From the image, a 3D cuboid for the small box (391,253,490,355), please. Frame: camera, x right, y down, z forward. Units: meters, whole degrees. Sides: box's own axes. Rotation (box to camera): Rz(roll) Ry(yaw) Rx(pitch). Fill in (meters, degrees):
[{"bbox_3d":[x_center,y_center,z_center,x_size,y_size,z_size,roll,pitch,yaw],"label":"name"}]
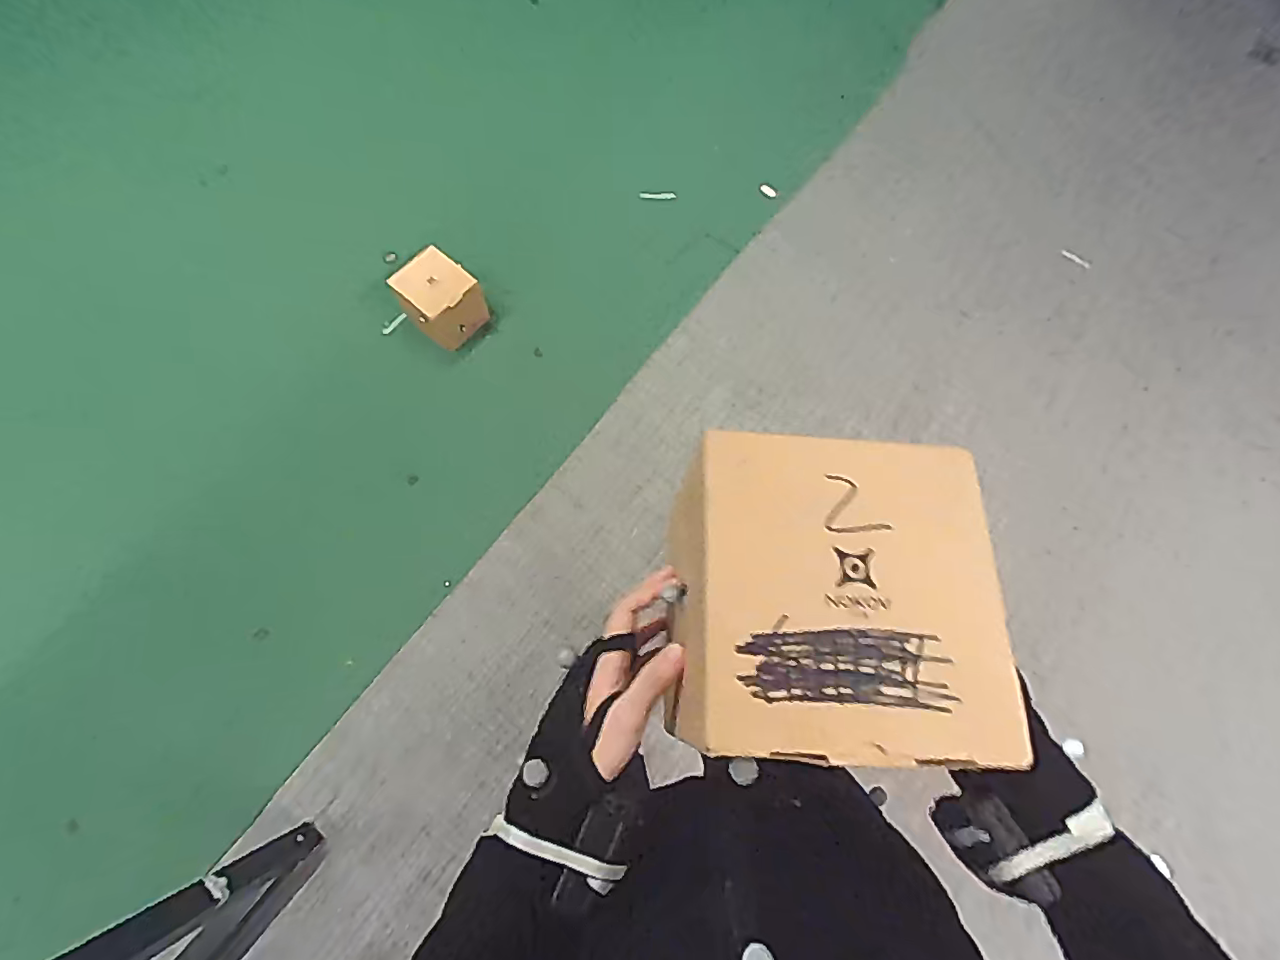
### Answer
[{"bbox_3d":[-0.551,-0.485,1.515,0.179,0.176,0.168,39,73,9],"label":"small box"}]
